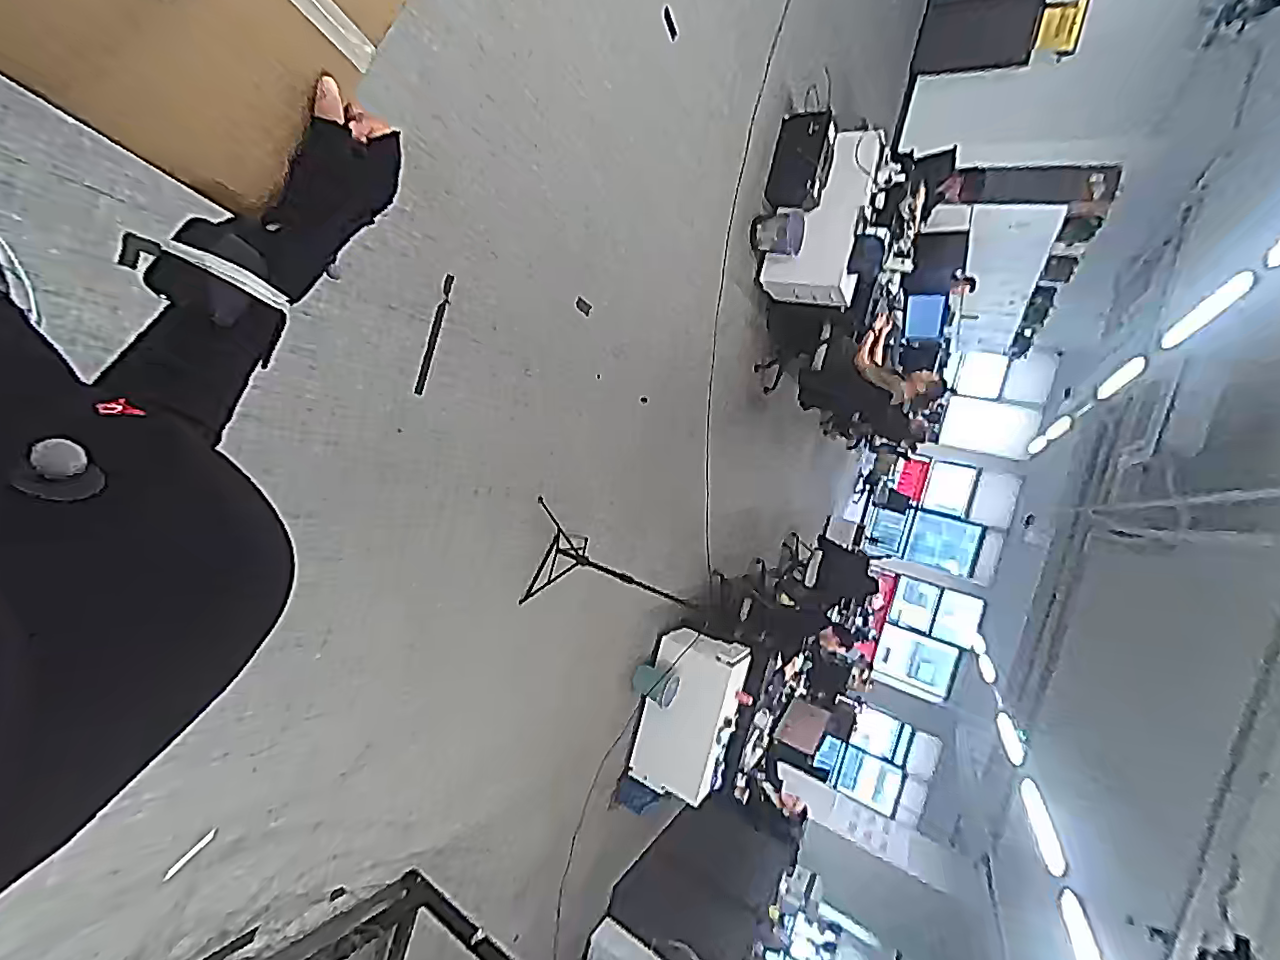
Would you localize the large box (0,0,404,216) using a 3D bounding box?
[{"bbox_3d":[-0.409,-0.458,0.325,0.320,0.320,0.408,-53,153,5],"label":"large box"}]
